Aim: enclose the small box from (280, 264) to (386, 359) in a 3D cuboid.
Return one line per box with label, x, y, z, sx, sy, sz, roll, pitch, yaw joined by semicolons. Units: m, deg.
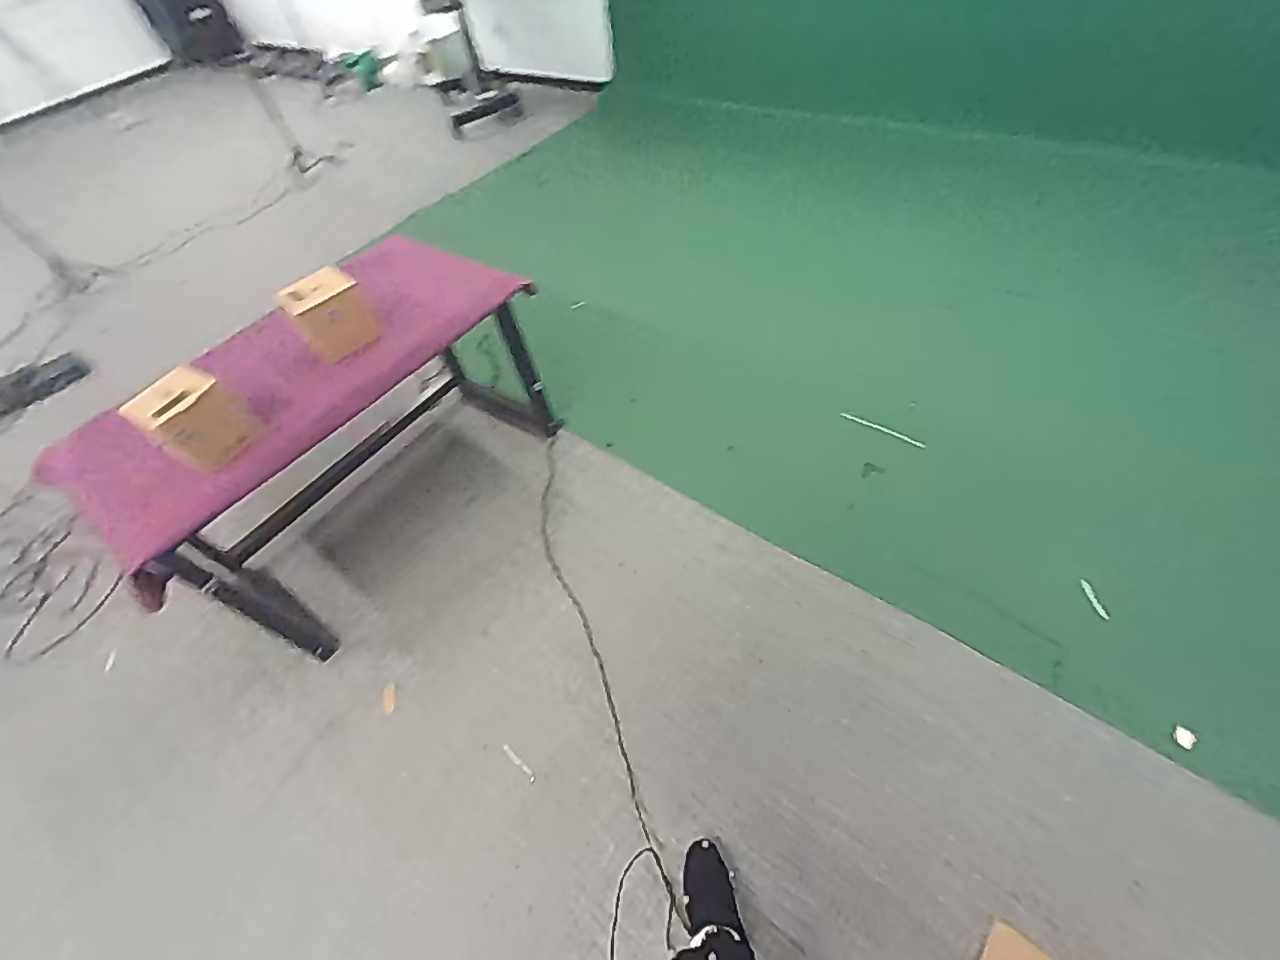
small box;-0.864;-0.474;1.533;0.179;0.176;0.168;-41;57;-21
